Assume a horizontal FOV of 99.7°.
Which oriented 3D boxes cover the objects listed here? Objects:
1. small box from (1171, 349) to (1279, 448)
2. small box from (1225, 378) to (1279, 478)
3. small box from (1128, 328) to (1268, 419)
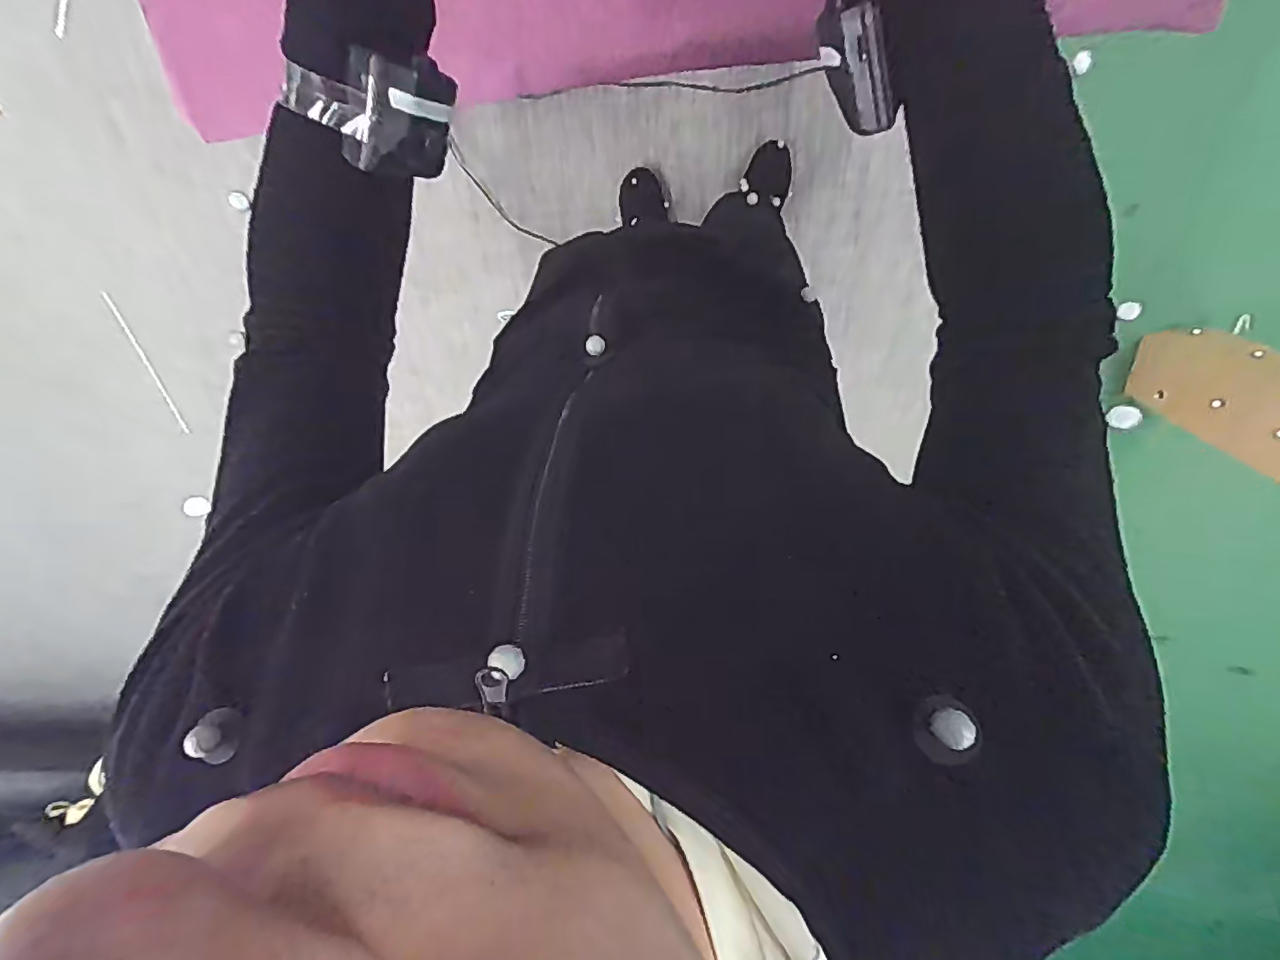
[{"bbox_3d":[1.415,-0.192,1.267,0.168,0.176,0.179,-3,121,8],"label":"small box"},{"bbox_3d":[1.399,-0.111,1.125,0.168,0.176,0.179,-4,122,9],"label":"small box"},{"bbox_3d":[1.429,-0.279,1.403,0.168,0.176,0.179,-4,122,8],"label":"small box"}]
